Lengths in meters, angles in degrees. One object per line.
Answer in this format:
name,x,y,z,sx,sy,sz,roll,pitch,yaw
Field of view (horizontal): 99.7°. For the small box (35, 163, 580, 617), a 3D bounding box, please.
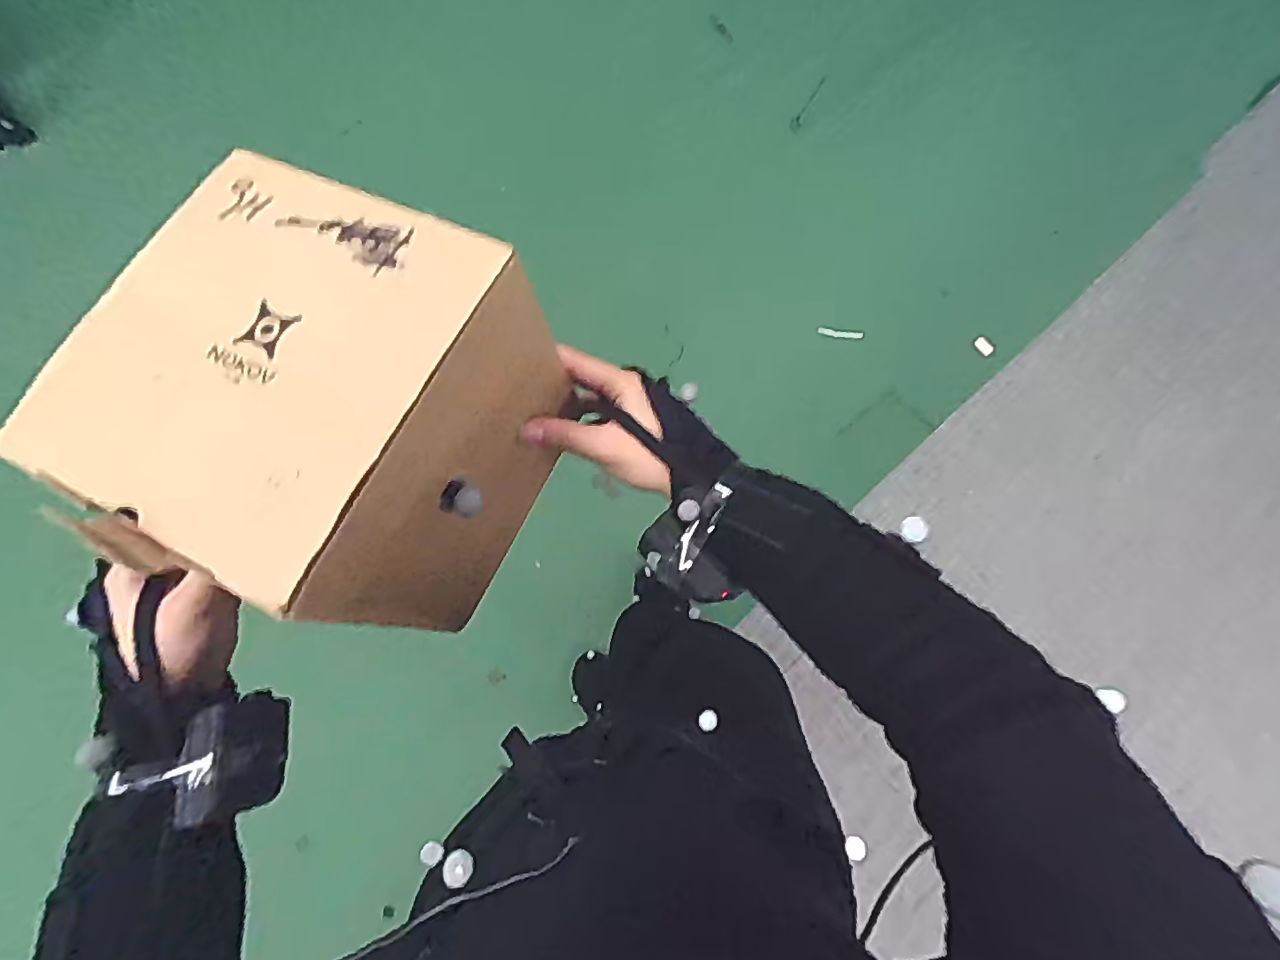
small box,-0.152,-0.032,0.316,0.168,0.176,0.179,24,77,12
